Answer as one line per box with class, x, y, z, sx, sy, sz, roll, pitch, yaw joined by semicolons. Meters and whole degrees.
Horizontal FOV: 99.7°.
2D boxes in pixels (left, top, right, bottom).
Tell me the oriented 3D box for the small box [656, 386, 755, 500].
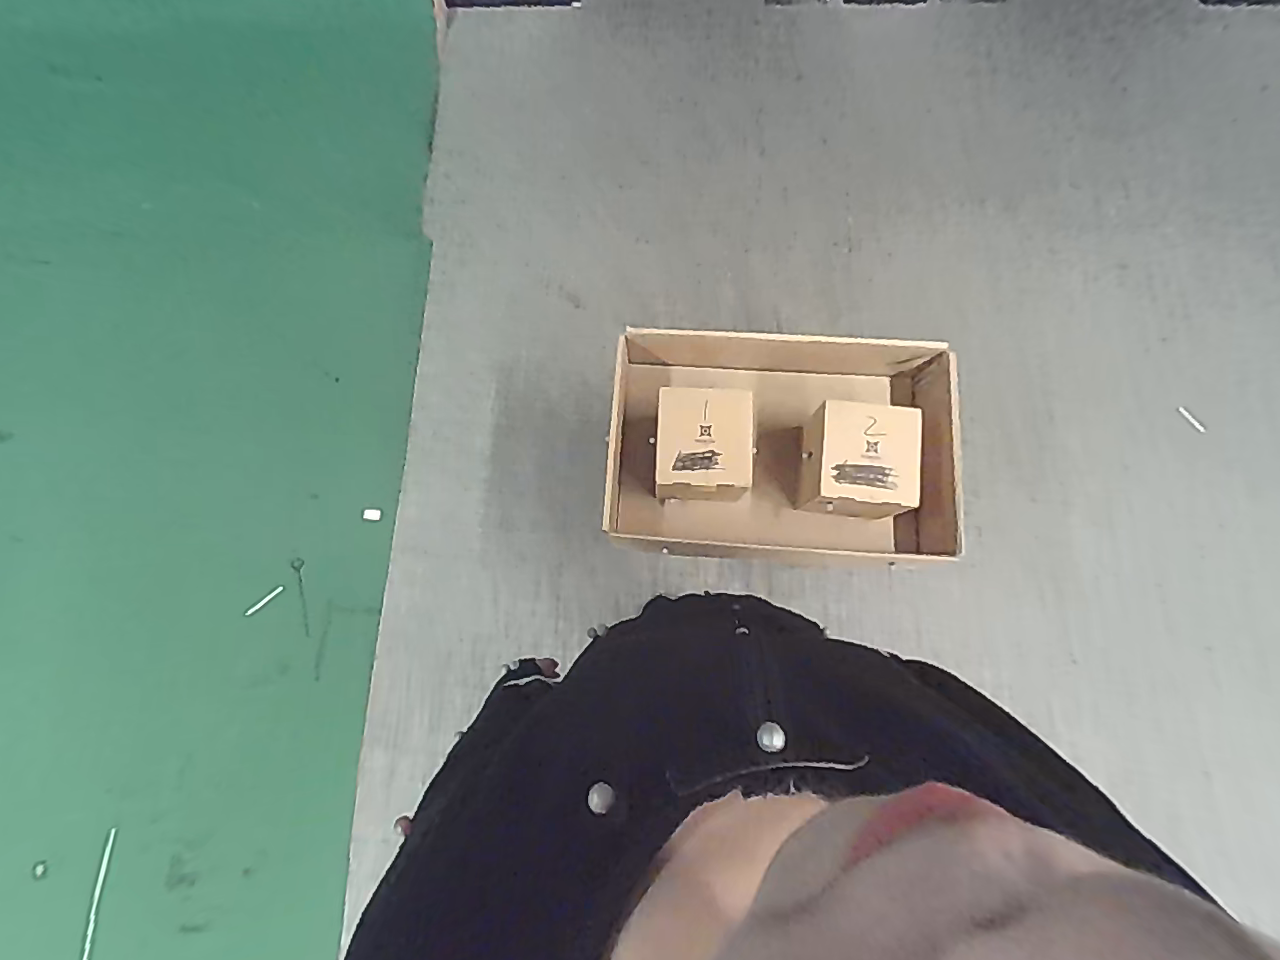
small box;0.118;-0.061;1.010;0.168;0.176;0.179;3;78;3
